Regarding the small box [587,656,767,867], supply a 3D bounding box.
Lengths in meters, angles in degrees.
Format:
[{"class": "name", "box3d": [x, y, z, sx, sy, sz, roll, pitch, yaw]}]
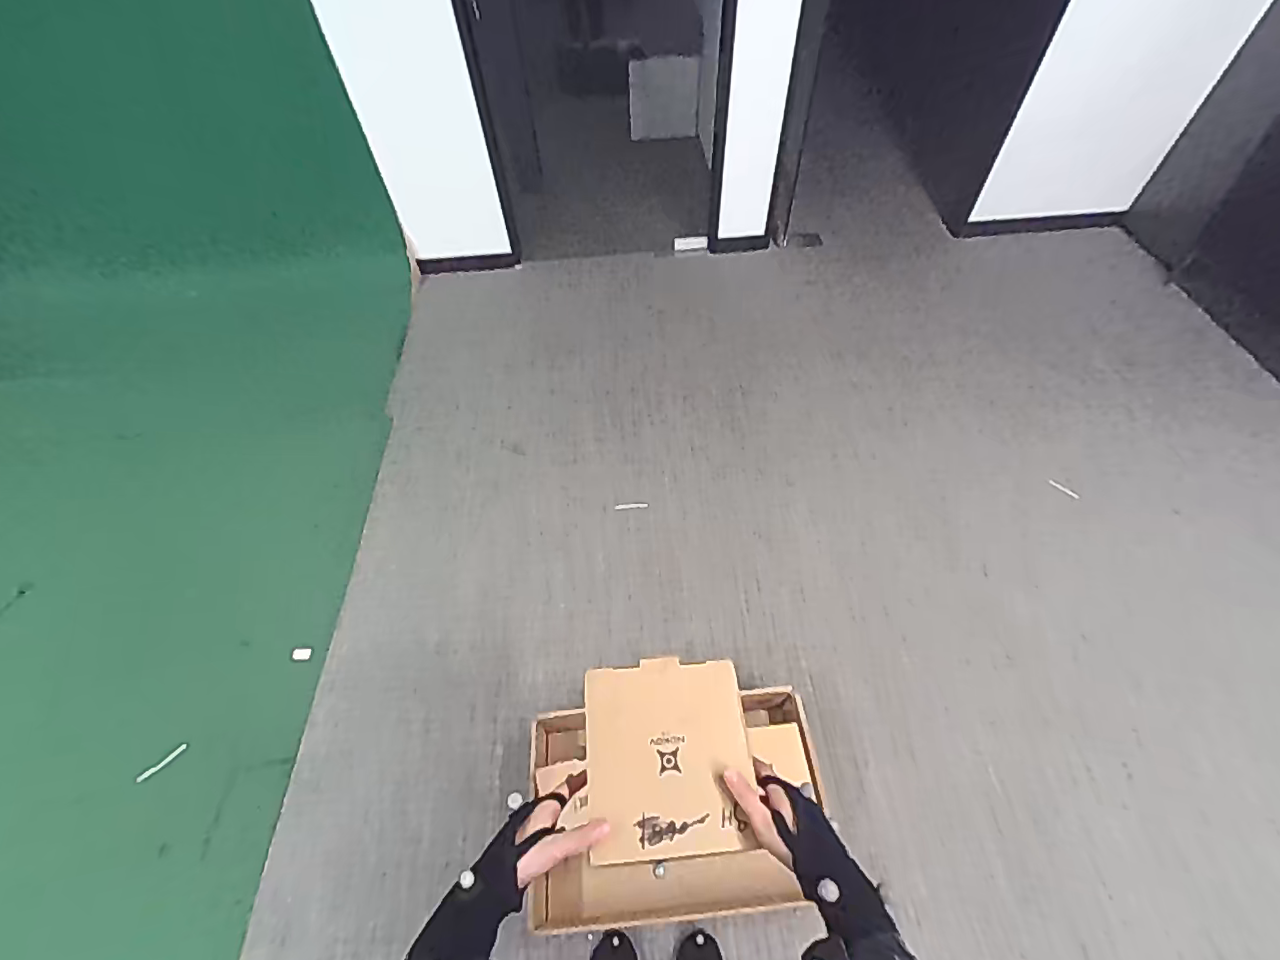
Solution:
[{"class": "small box", "box3d": [0.025, 0.312, 0.598, 0.168, 0.176, 0.179, -2, 54, -5]}]
